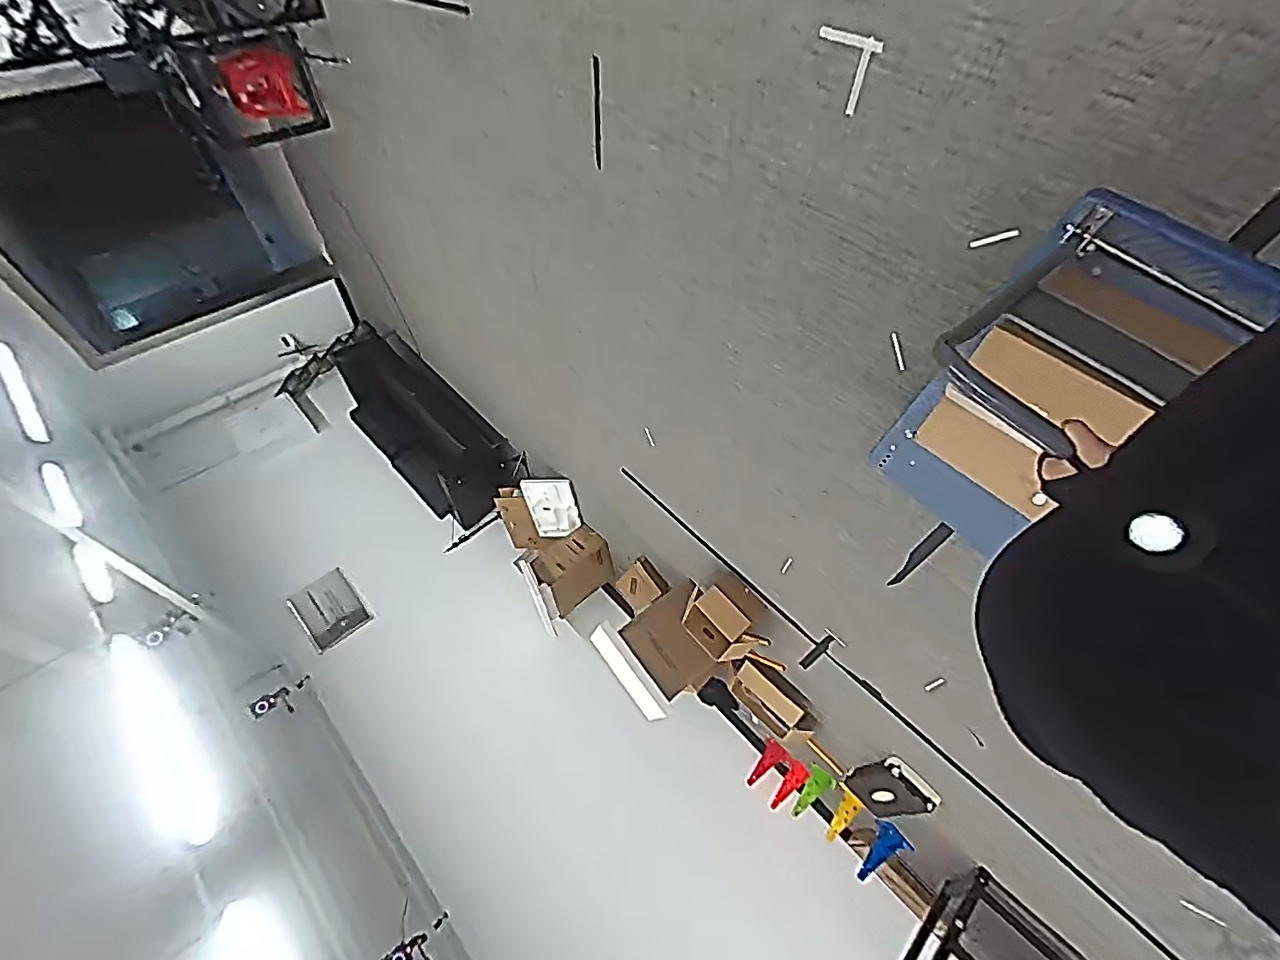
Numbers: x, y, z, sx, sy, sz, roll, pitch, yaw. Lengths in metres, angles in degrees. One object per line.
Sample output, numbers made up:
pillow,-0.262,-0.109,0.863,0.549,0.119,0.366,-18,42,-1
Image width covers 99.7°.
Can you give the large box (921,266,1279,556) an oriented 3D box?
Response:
large box,0.866,-0.140,1.044,0.408,0.320,0.320,43,151,23
